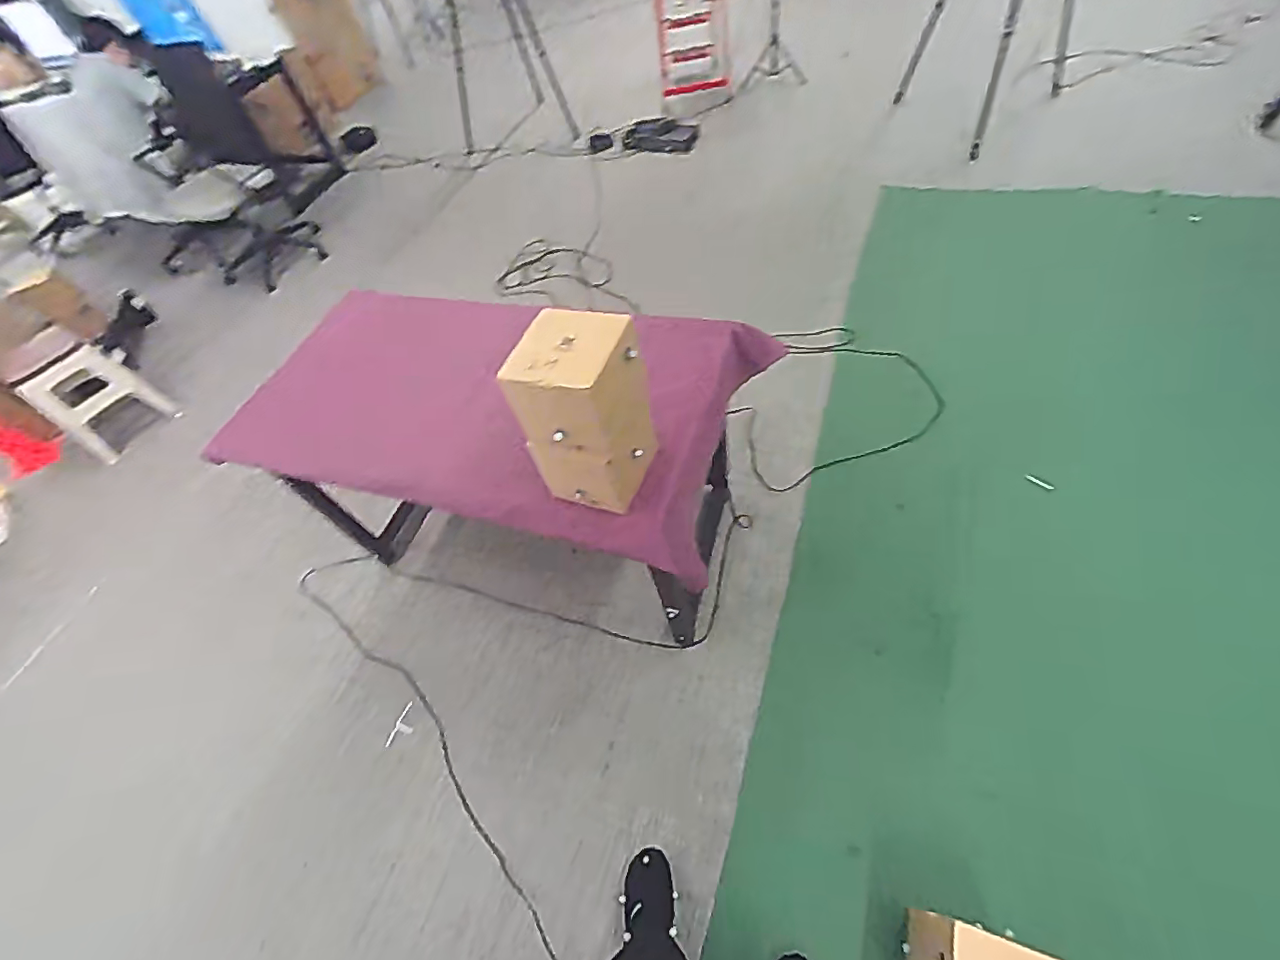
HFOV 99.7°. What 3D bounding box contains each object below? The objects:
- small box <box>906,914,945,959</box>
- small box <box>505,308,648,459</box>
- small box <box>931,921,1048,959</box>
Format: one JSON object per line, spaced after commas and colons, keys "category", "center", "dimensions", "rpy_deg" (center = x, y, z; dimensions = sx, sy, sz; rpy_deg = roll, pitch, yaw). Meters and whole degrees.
{"category": "small box", "center": [0.635, 0.982, 1.057], "dimensions": [0.179, 0.176, 0.168], "rpy_deg": [12, 57, 20]}
{"category": "small box", "center": [-0.094, -0.163, 0.915], "dimensions": [0.168, 0.176, 0.179], "rpy_deg": [12, 58, 21]}
{"category": "small box", "center": [0.608, 0.891, 0.926], "dimensions": [0.179, 0.176, 0.168], "rpy_deg": [12, 57, 18]}
